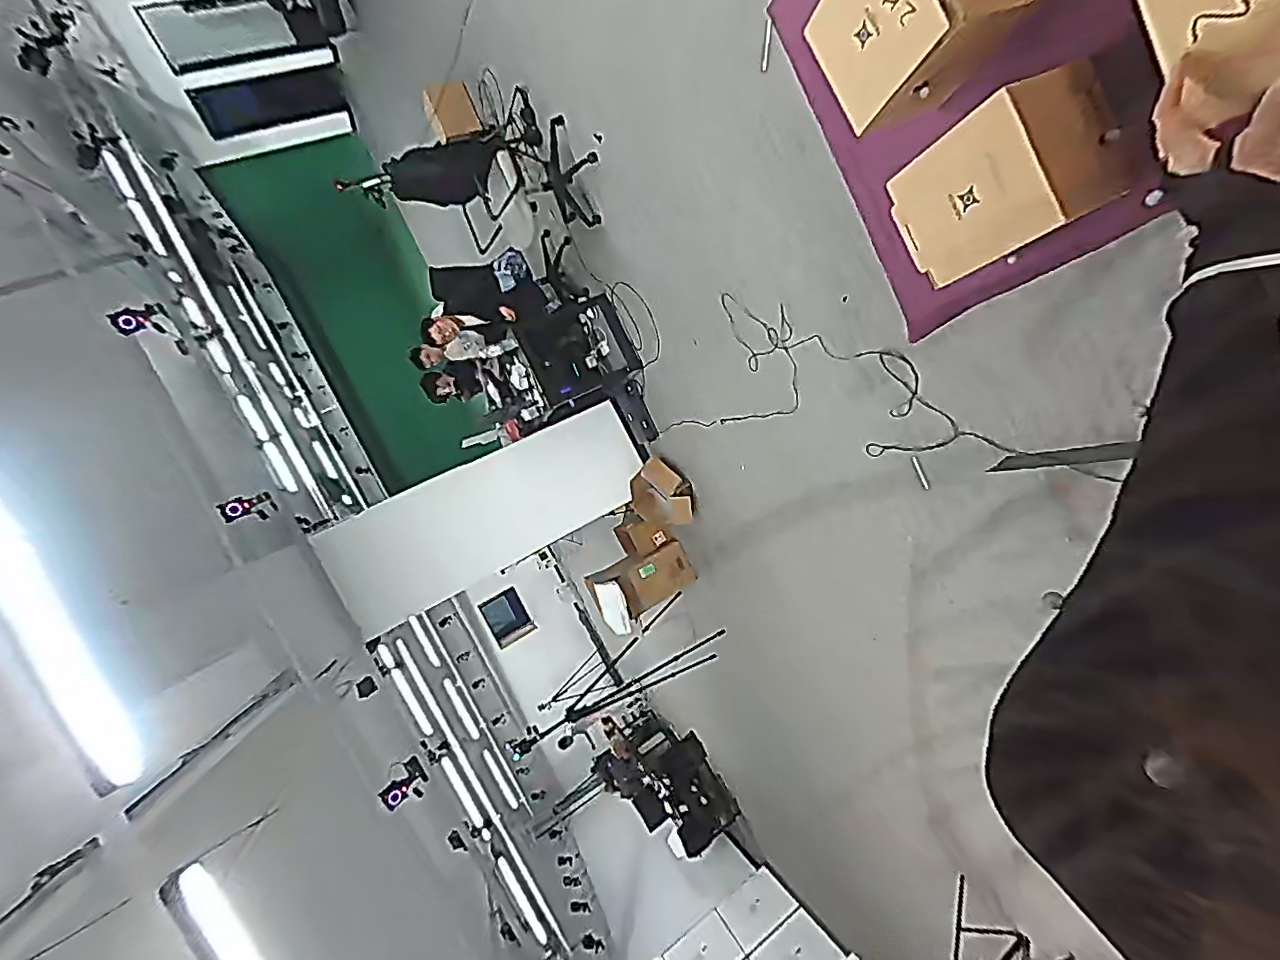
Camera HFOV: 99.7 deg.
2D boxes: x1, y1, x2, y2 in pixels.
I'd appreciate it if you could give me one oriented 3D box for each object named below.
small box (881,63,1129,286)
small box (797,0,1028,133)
[{"bbox_3d":[0.461,-0.383,0.695,0.168,0.176,0.179,62,160,-4],"label":"small box"},{"bbox_3d":[0.345,-0.595,0.691,0.168,0.176,0.179,61,160,-2],"label":"small box"}]
